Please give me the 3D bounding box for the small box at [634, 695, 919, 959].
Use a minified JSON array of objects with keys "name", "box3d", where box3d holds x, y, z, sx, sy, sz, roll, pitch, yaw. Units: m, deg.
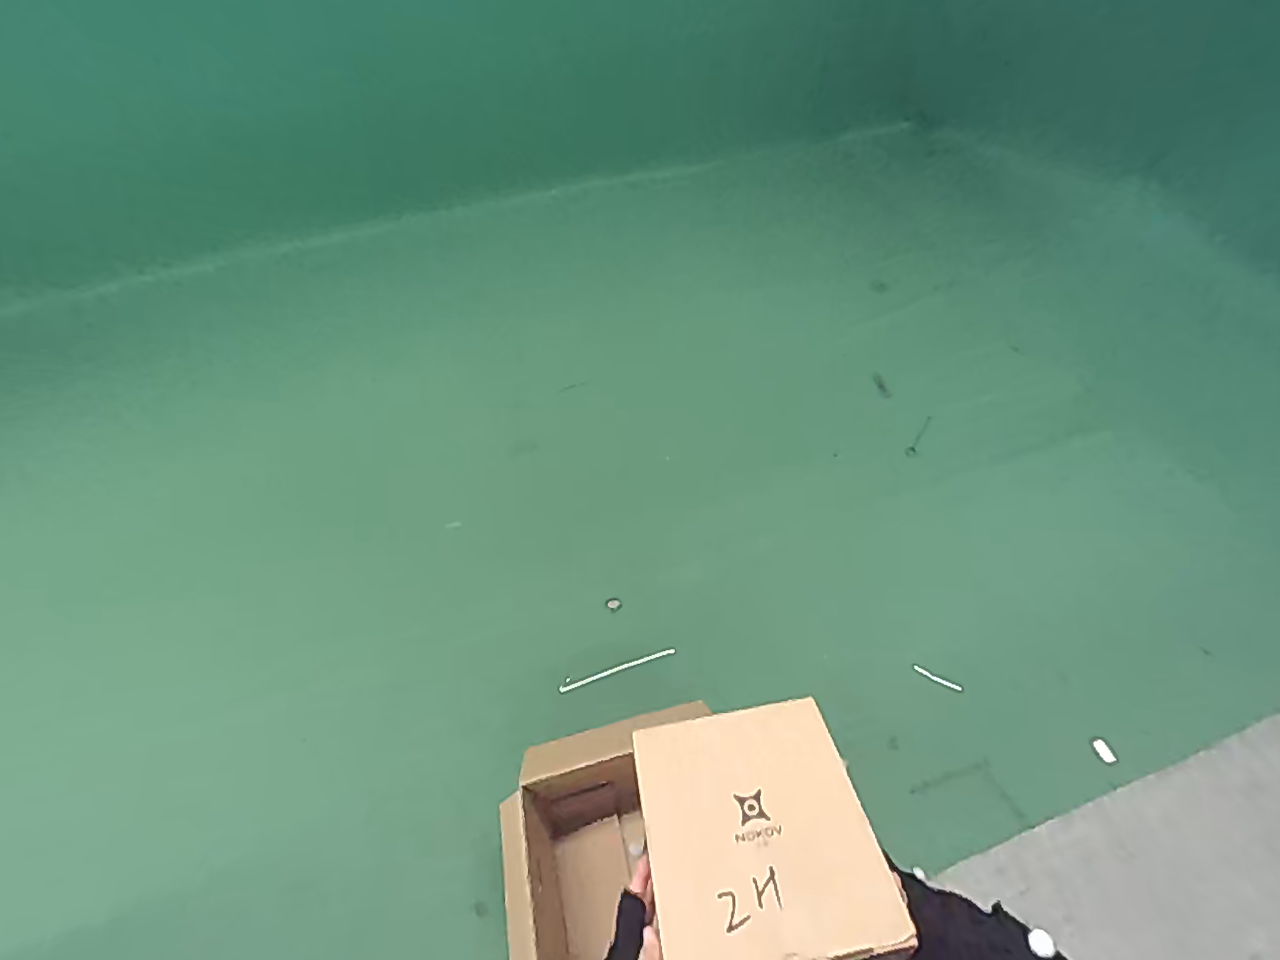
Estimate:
[{"name":"small box","box3d":[0.092,0.314,0.449,0.168,0.176,0.179,-10,38,-3]}]
